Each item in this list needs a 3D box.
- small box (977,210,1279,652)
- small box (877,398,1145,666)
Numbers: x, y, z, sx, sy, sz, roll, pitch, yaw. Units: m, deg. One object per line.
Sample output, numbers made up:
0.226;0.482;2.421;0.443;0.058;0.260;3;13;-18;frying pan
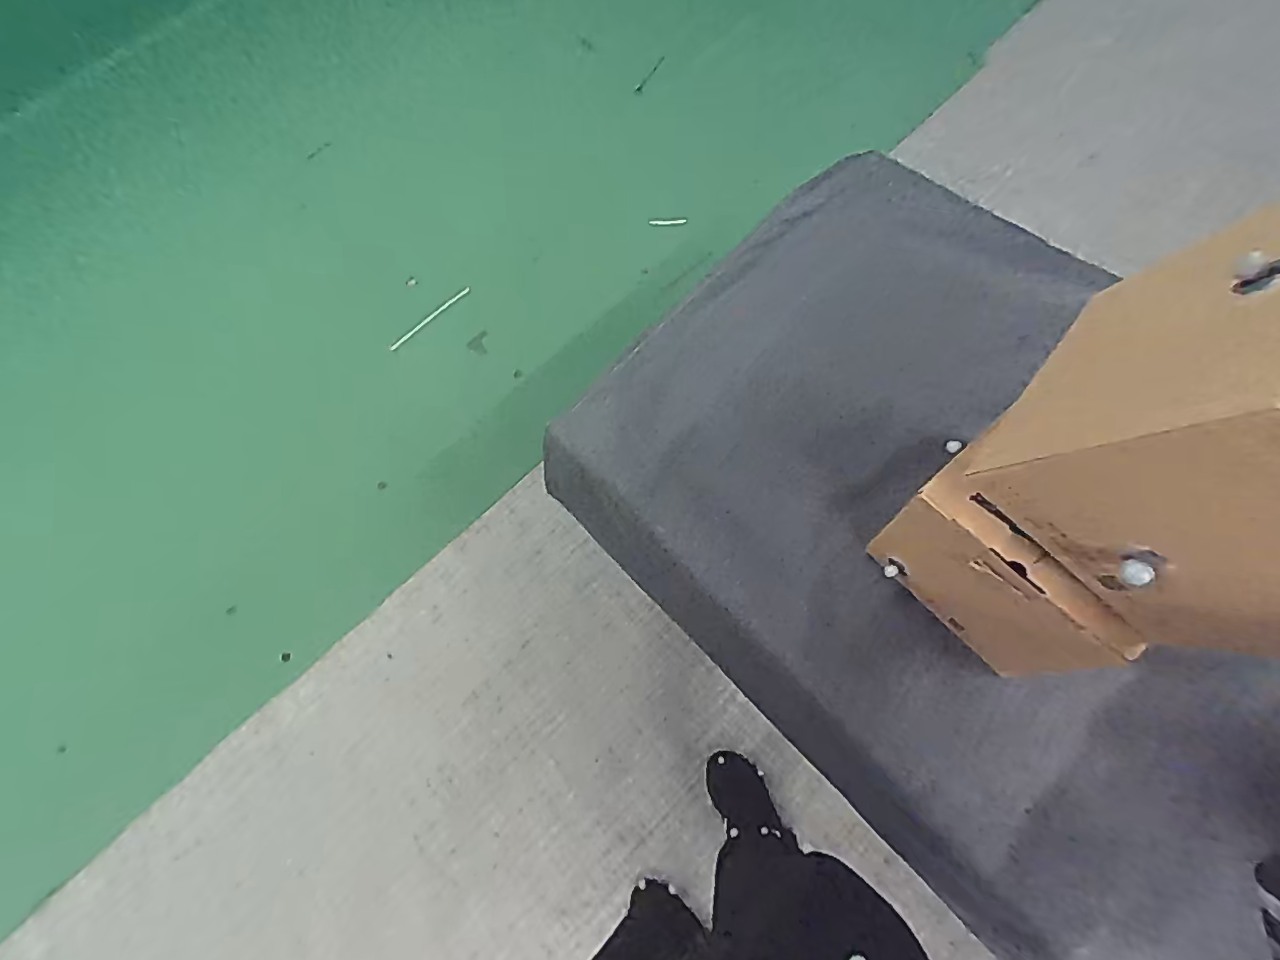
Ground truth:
0.331;-0.026;0.287;0.168;0.176;0.179;41;80;0;small box
0.334;0.040;0.468;0.179;0.176;0.168;-39;68;-10;small box
